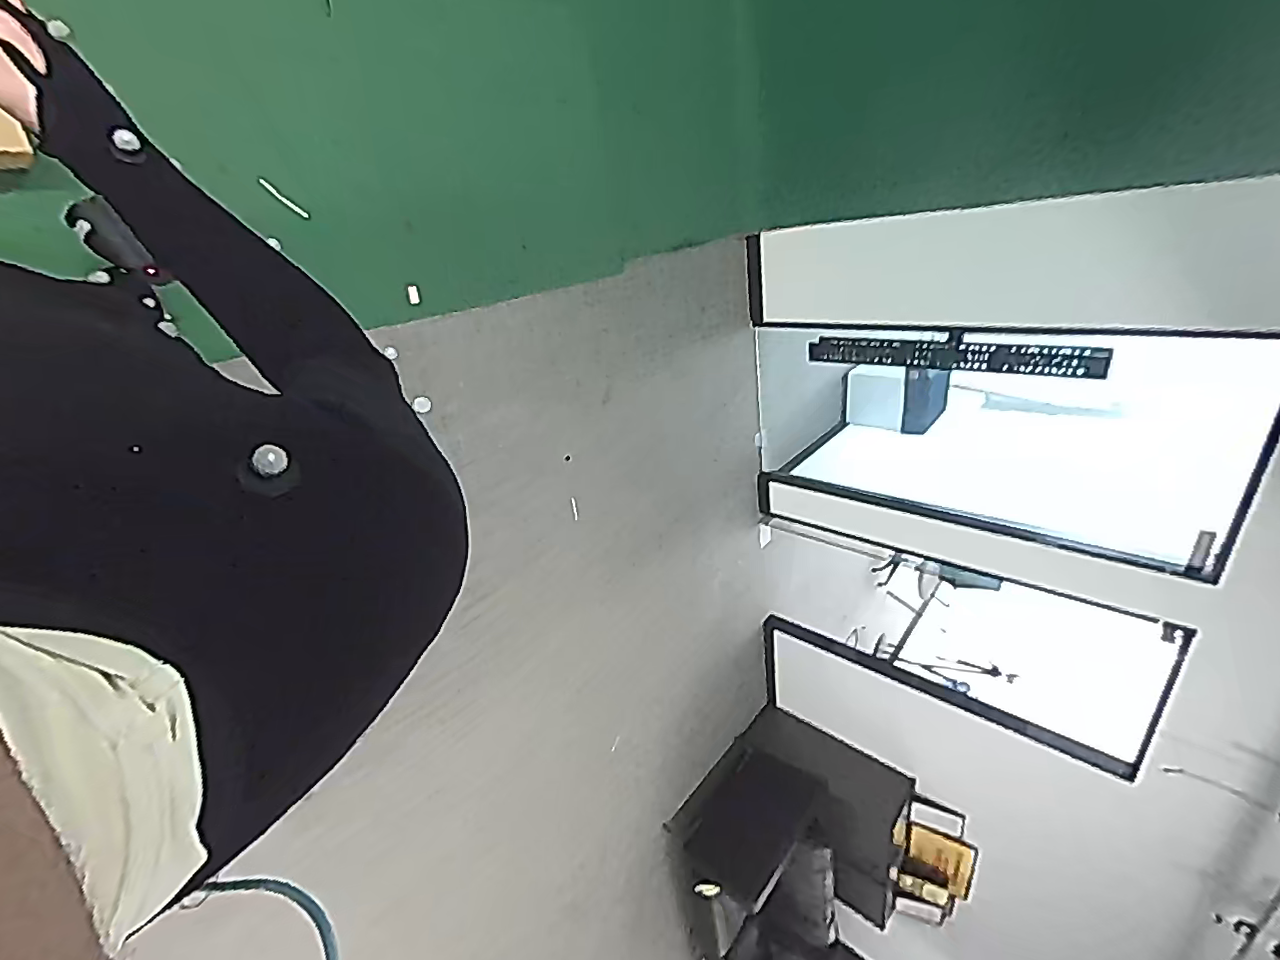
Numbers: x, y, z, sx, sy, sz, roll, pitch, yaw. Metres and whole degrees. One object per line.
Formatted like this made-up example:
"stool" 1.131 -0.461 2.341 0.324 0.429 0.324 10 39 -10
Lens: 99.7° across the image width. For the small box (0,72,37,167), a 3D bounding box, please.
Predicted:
"small box" -1.173 -0.640 0.906 0.168 0.176 0.179 -29 123 -40
